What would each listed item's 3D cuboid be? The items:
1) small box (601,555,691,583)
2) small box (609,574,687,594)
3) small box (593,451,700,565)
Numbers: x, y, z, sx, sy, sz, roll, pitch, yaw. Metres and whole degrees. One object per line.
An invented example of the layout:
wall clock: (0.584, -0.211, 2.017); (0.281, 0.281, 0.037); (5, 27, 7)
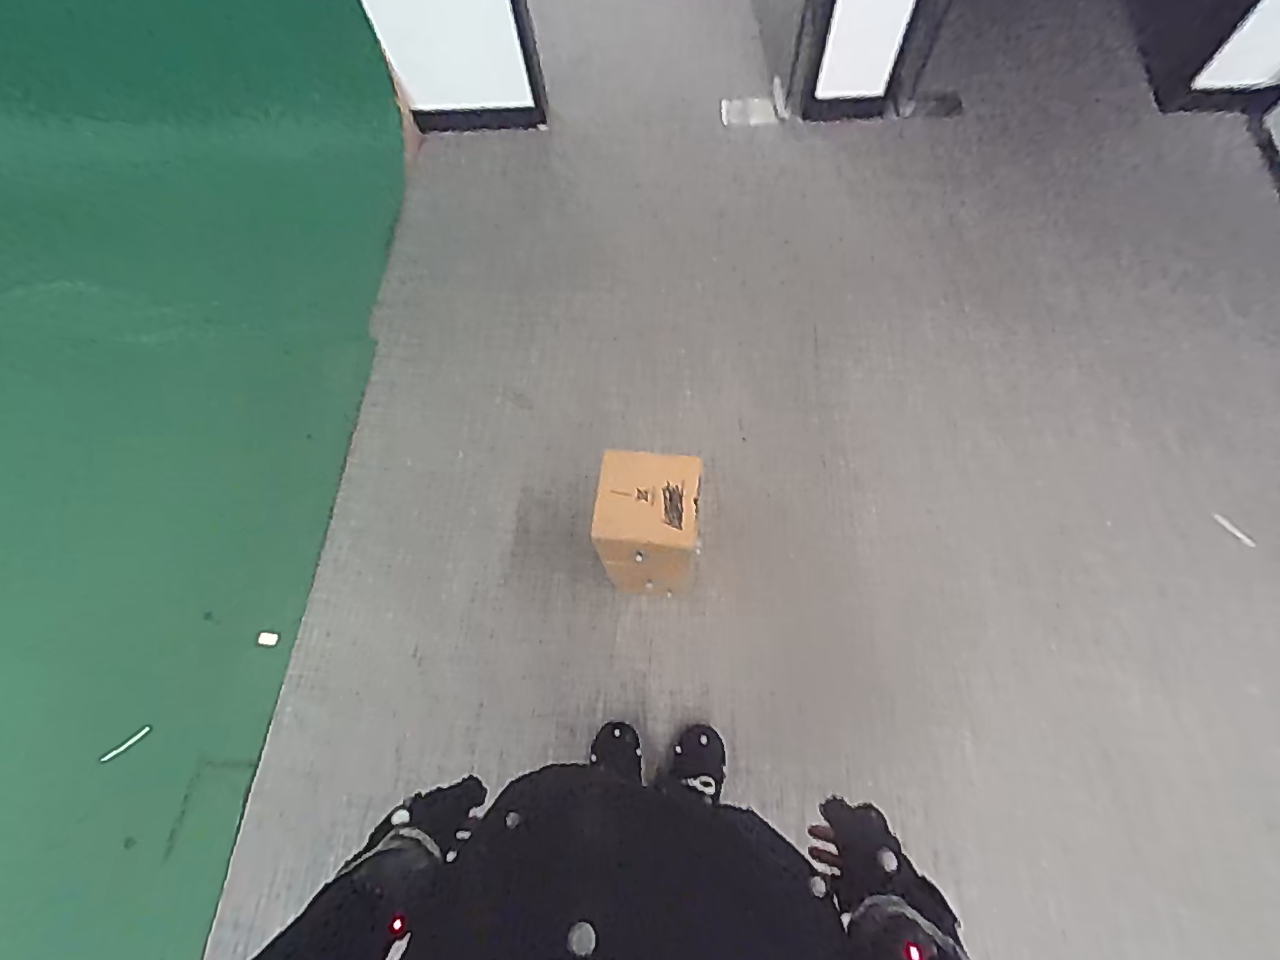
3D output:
small box: (0.022, 0.120, 1.156); (0.179, 0.176, 0.168); (5, 68, 5)
small box: (0.028, 0.178, 1.309); (0.179, 0.176, 0.168); (2, 68, 6)
small box: (0.014, 0.058, 1.004); (0.179, 0.176, 0.168); (3, 68, 3)
